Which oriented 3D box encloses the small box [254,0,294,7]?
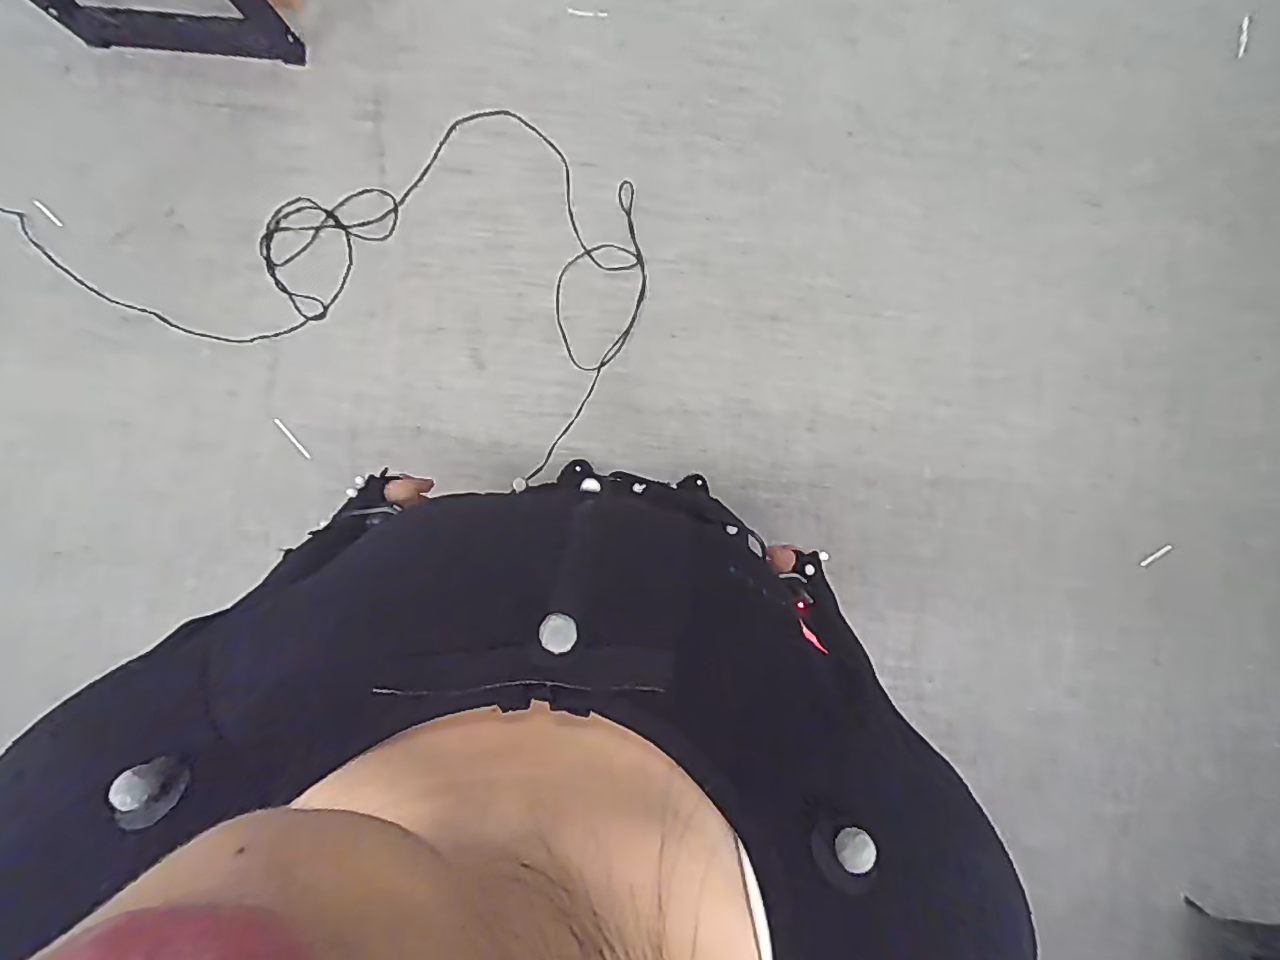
[{"bbox_3d":[-0.974,-1.337,1.347,0.179,0.176,0.168,10,93,-1],"label":"small box"}]
